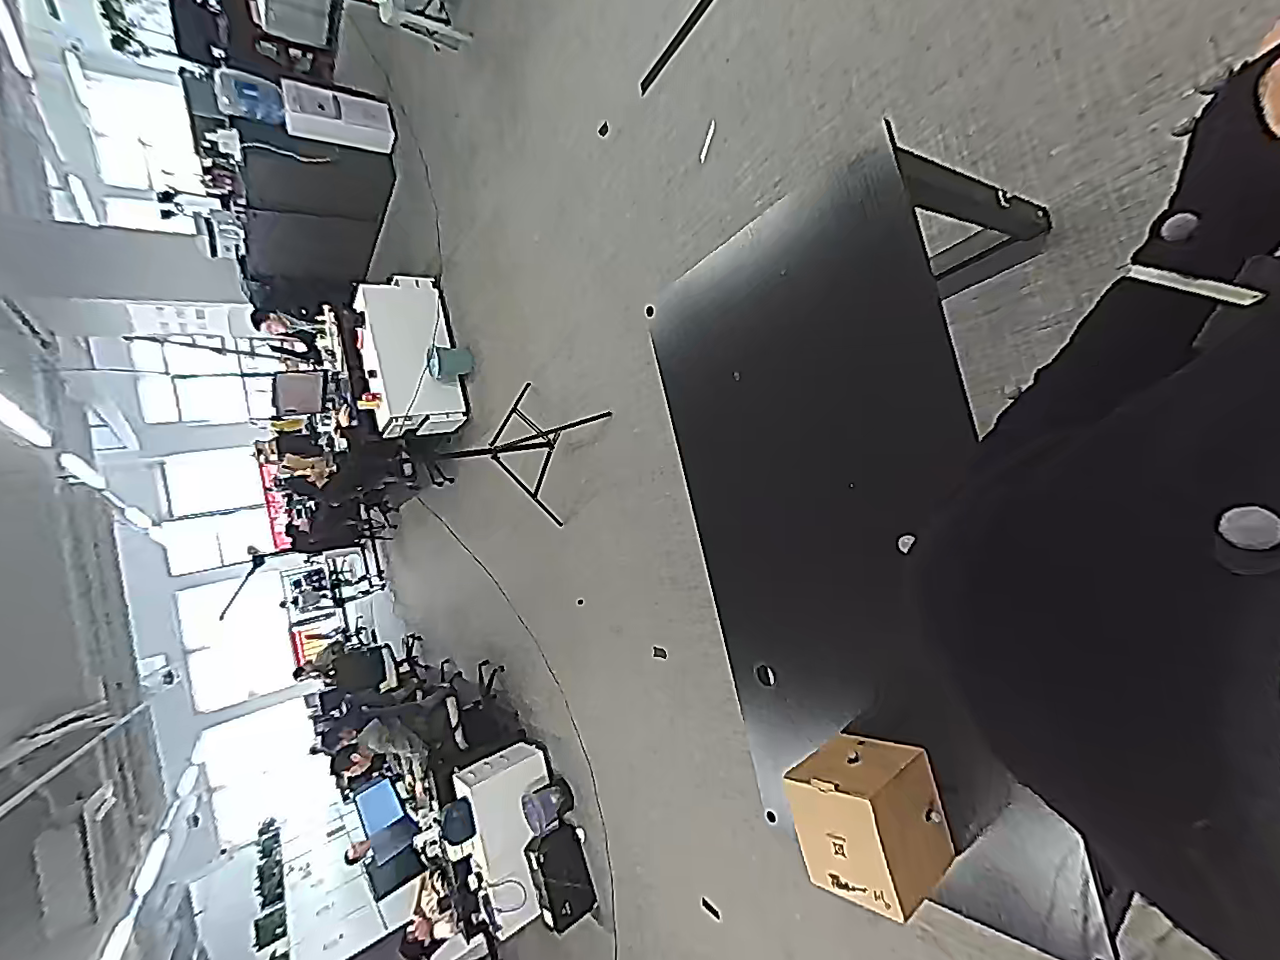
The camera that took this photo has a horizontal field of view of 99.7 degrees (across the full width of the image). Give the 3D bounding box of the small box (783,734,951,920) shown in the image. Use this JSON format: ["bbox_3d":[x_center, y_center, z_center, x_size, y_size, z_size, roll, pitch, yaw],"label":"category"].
[{"bbox_3d":[0.365,0.536,0.872,0.168,0.176,0.179,-22,81,53],"label":"small box"}]
